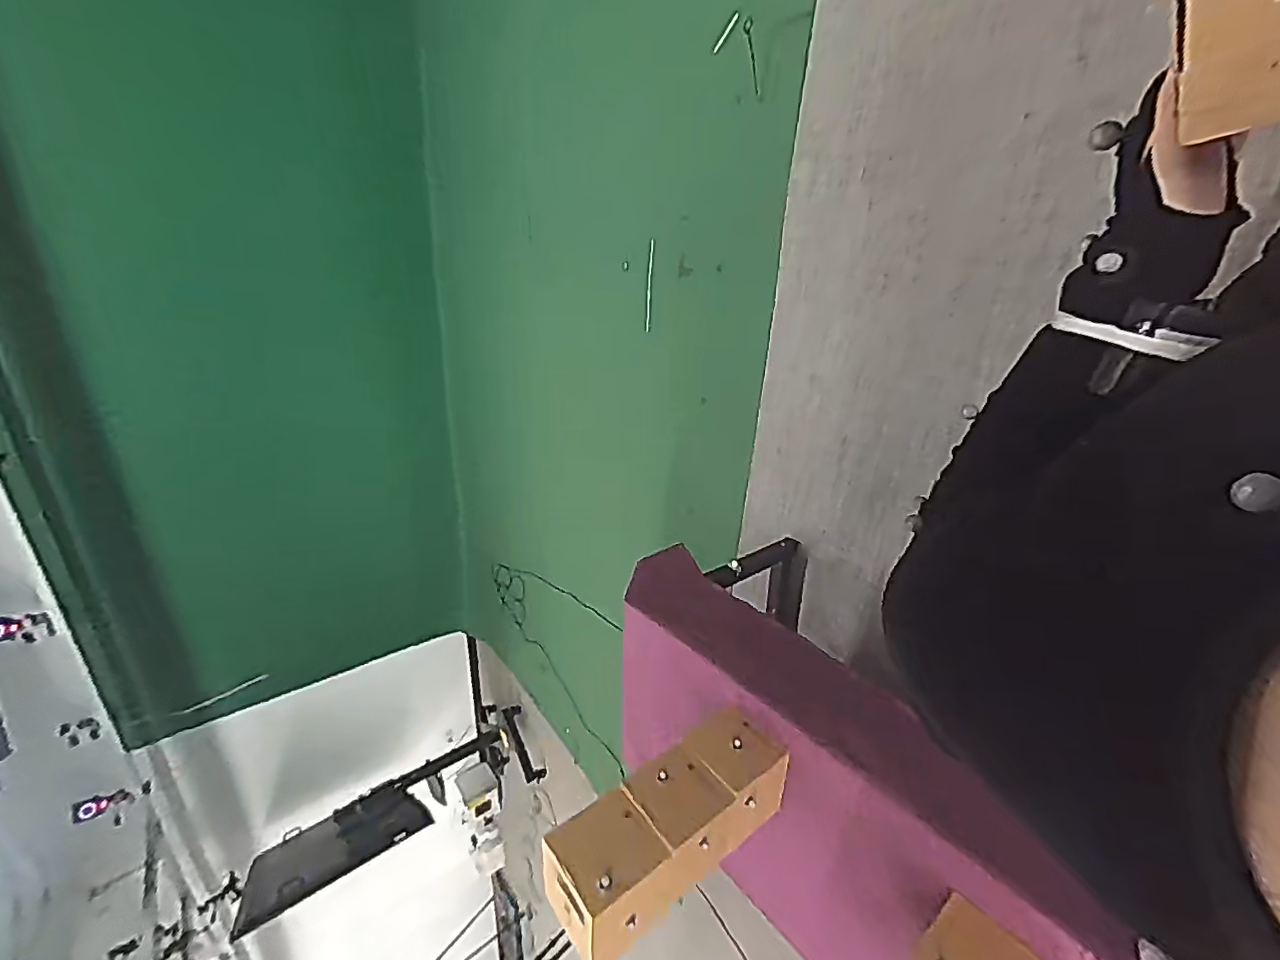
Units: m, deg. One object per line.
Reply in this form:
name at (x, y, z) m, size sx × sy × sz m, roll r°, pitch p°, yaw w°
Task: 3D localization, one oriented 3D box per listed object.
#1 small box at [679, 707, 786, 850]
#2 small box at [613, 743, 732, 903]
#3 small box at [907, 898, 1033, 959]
small box at (0.194, 0.634, 1.172) m, size 0.168 × 0.176 × 0.179 m, roll 28°, pitch 123°, yaw 47°
small box at (0.064, 0.670, 1.079) m, size 0.168 × 0.176 × 0.179 m, roll 30°, pitch 125°, yaw 45°
small box at (0.502, 0.792, 0.807) m, size 0.179 × 0.176 × 0.168 m, roll 24°, pitch 121°, yaw 49°
